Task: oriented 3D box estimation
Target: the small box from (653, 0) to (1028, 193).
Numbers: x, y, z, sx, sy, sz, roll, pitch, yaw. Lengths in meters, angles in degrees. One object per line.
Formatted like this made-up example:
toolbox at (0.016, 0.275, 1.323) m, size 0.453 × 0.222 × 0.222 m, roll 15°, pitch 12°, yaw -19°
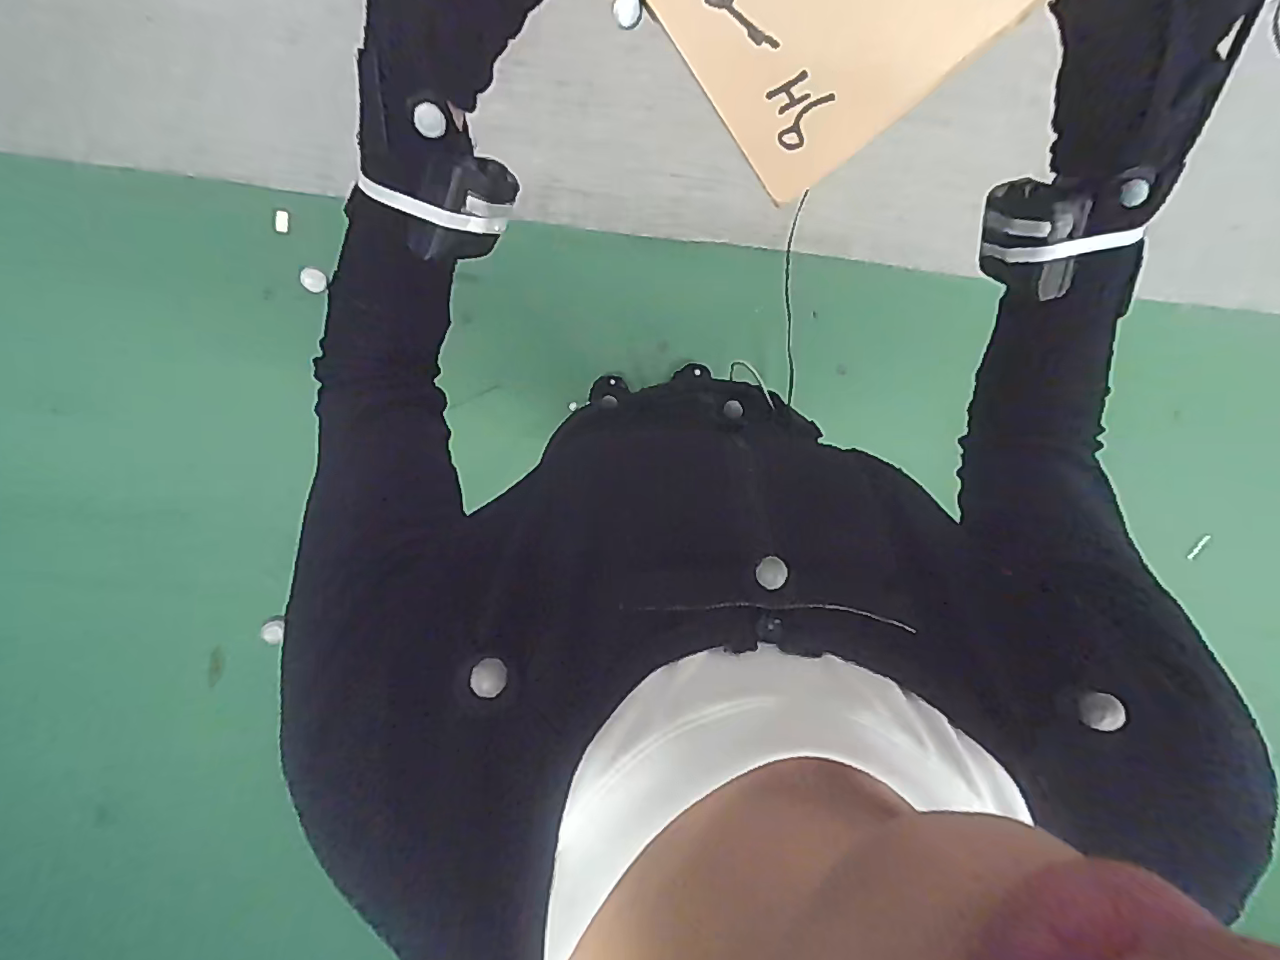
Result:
small box at (0.086, -0.271, 0.240) m, size 0.179 × 0.176 × 0.168 m, roll -31°, pitch 118°, yaw 28°
